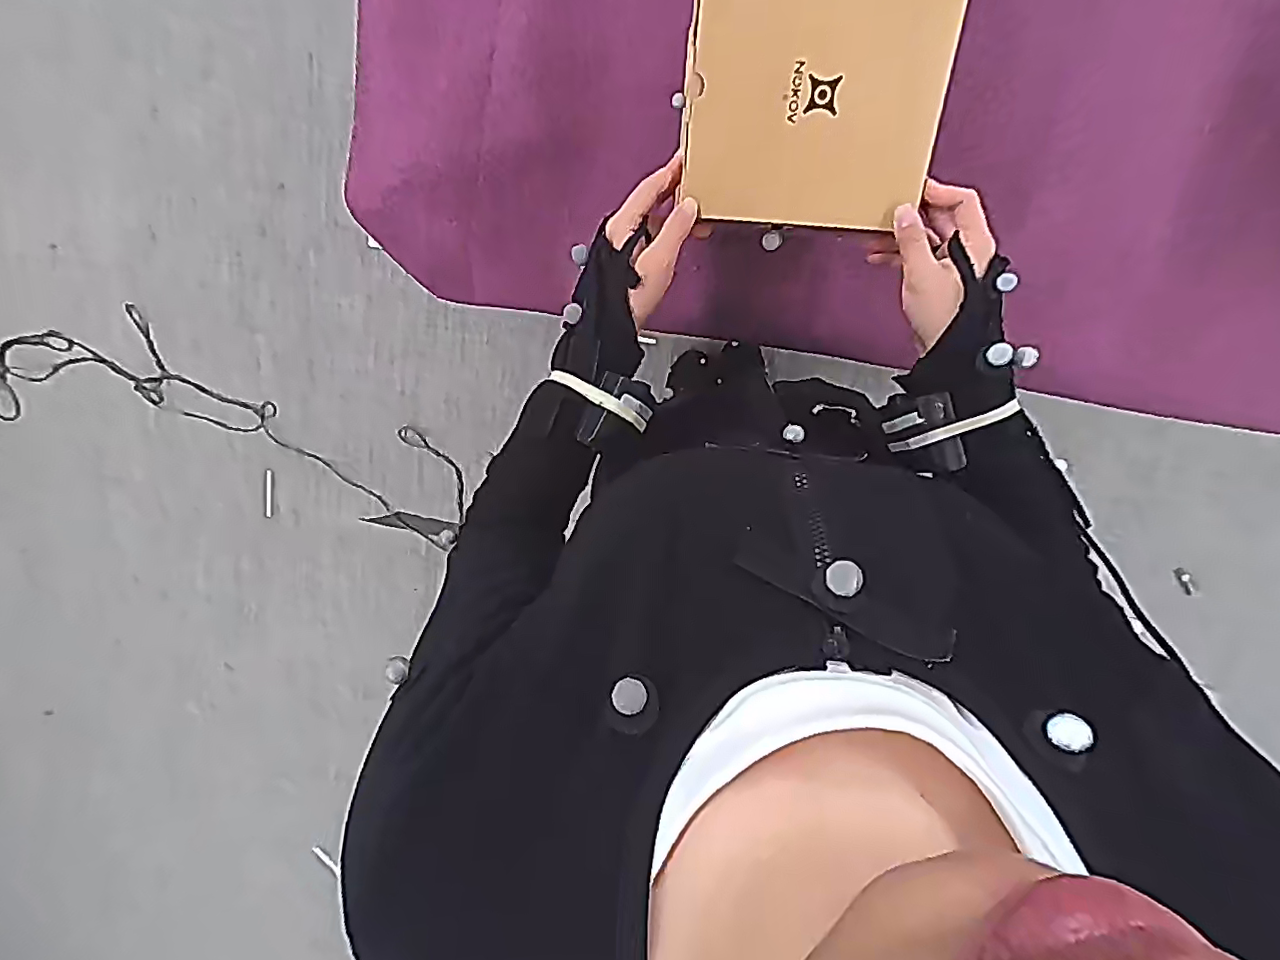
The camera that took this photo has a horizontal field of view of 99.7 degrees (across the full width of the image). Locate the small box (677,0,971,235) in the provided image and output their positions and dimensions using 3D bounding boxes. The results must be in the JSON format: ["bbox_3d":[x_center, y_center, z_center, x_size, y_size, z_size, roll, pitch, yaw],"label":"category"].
[{"bbox_3d":[0.126,-0.296,0.440,0.179,0.176,0.168,5,112,2],"label":"small box"}]
